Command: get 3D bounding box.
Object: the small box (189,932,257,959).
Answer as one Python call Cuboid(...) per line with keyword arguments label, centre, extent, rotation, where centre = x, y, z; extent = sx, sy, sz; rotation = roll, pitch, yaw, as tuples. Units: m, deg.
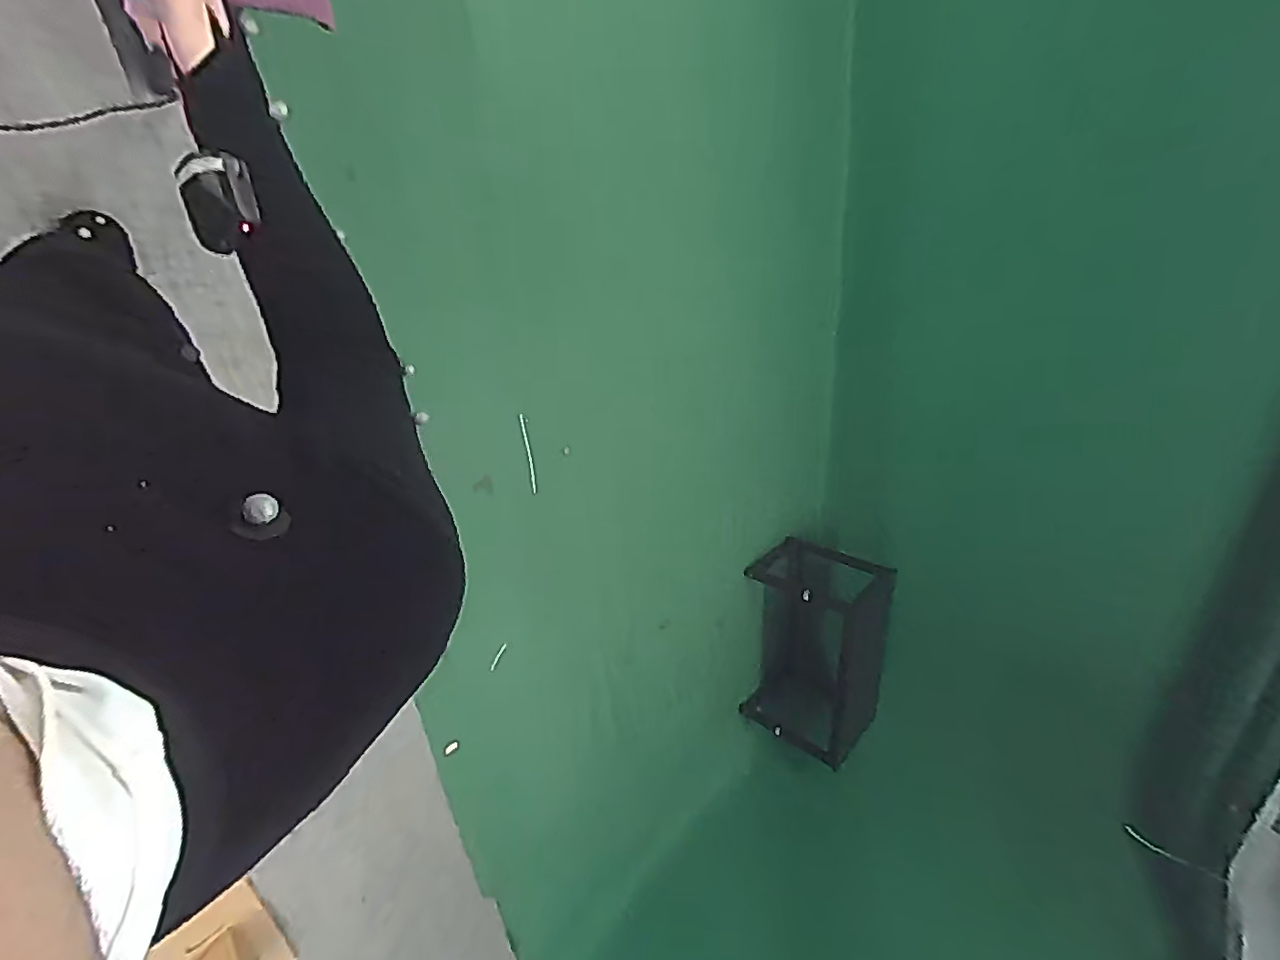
Cuboid(label="small box", centre=(-1.220, 1.469, 1.560), extent=(0.168, 0.176, 0.179), rotation=(-34, 127, -35))
